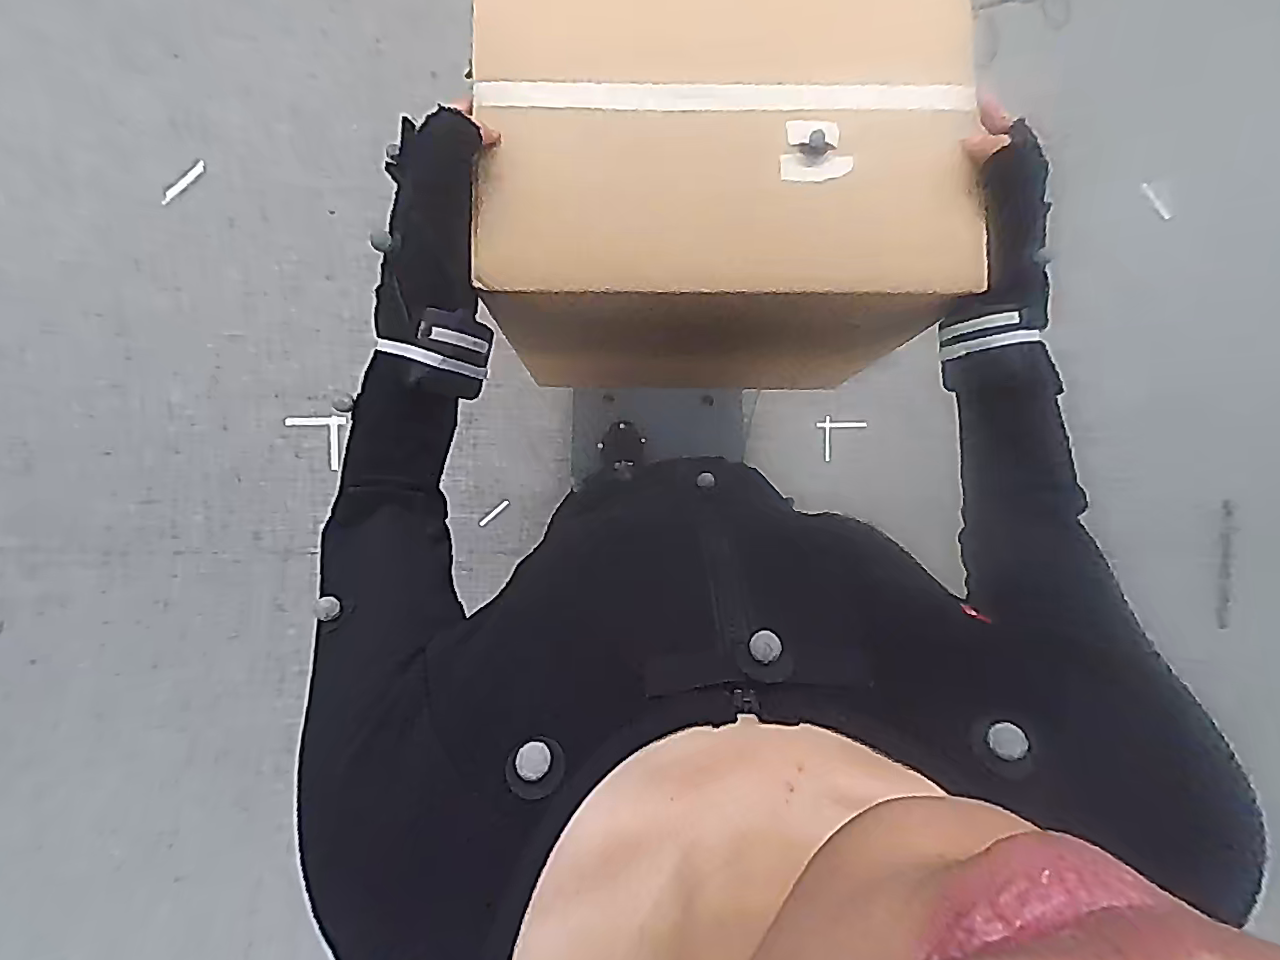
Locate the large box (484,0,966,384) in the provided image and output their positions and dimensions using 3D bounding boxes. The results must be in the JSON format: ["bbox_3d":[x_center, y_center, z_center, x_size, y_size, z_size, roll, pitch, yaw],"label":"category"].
[{"bbox_3d":[0.063,-0.298,0.600,0.408,0.320,0.320,0,86,-2],"label":"large box"}]
